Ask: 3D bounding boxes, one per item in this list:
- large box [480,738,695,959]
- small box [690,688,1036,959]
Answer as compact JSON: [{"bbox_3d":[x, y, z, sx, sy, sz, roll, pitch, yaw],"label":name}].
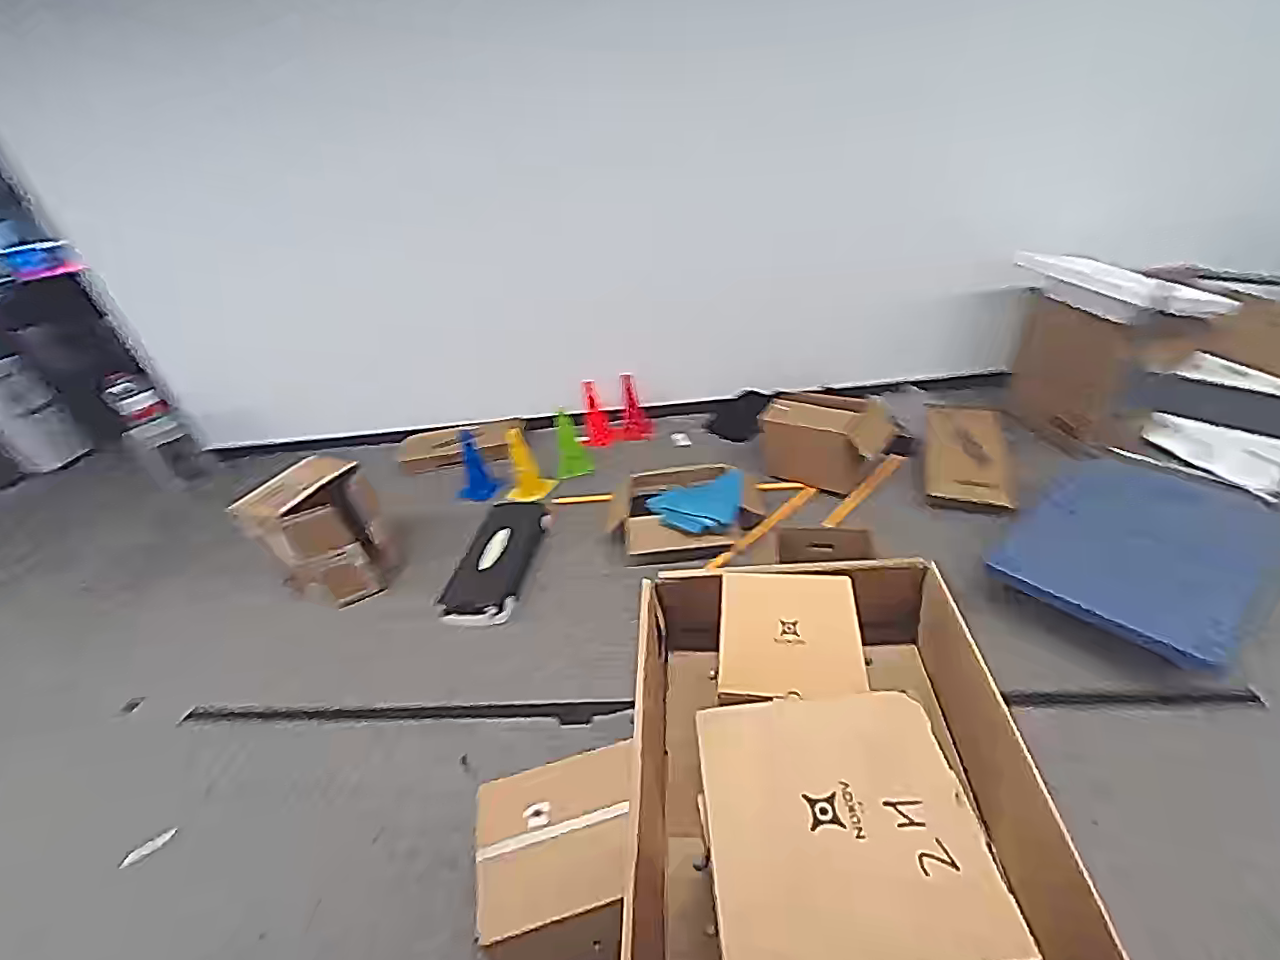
[{"bbox_3d":[-0.121,0.873,1.242,0.408,0.320,0.320,-15,34,-6],"label":"large box"},{"bbox_3d":[0.137,0.283,0.404,0.179,0.176,0.168,-6,37,2],"label":"small box"}]
